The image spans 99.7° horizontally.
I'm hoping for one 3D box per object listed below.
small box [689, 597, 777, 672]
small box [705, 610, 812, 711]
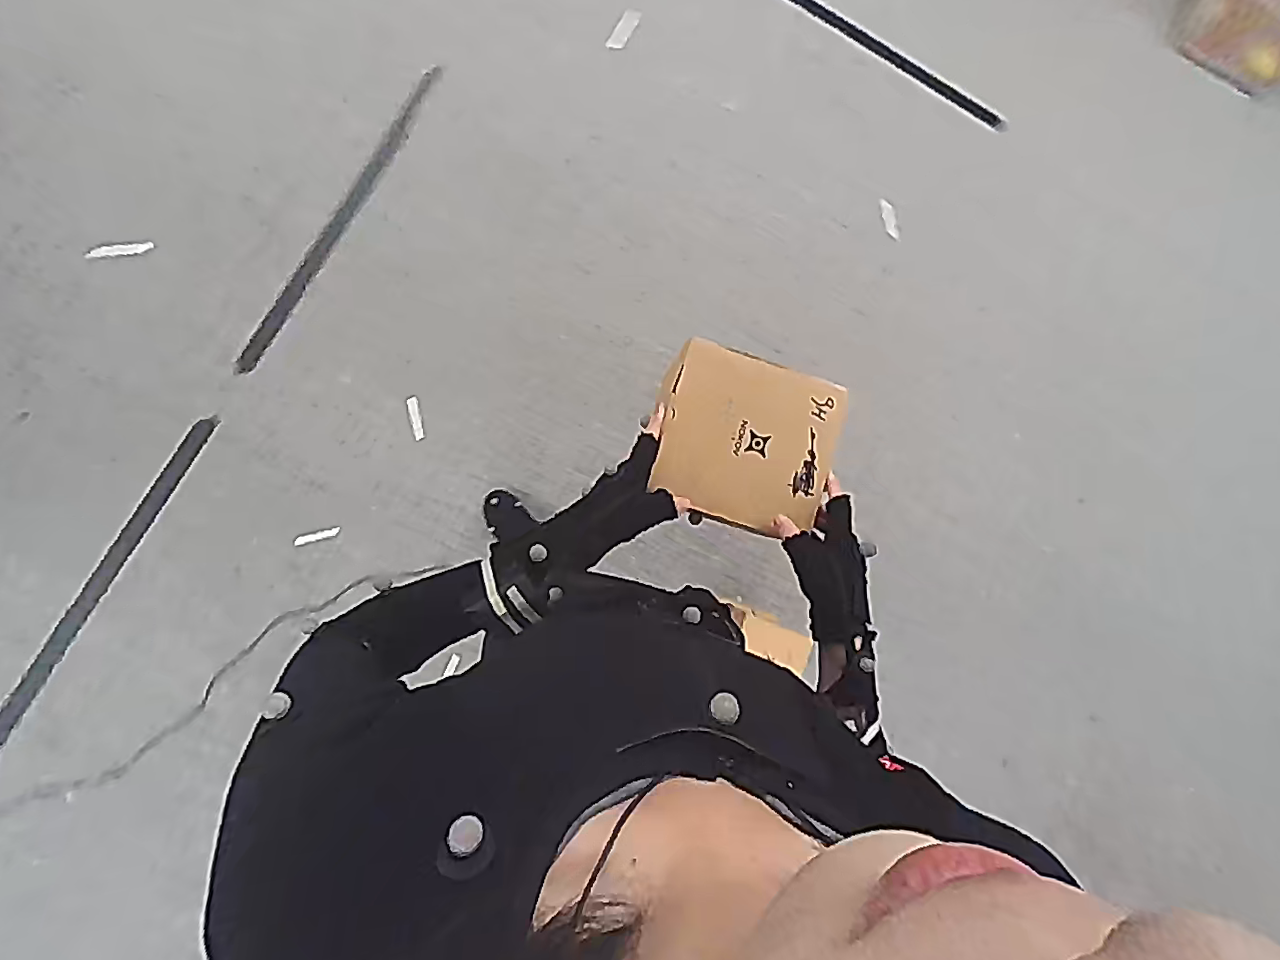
[{"bbox_3d":[0.242,0.429,1.459,0.168,0.176,0.179,20,81,-6],"label":"small box"},{"bbox_3d":[0.276,0.423,1.300,0.179,0.176,0.168,23,83,-7],"label":"small box"}]
